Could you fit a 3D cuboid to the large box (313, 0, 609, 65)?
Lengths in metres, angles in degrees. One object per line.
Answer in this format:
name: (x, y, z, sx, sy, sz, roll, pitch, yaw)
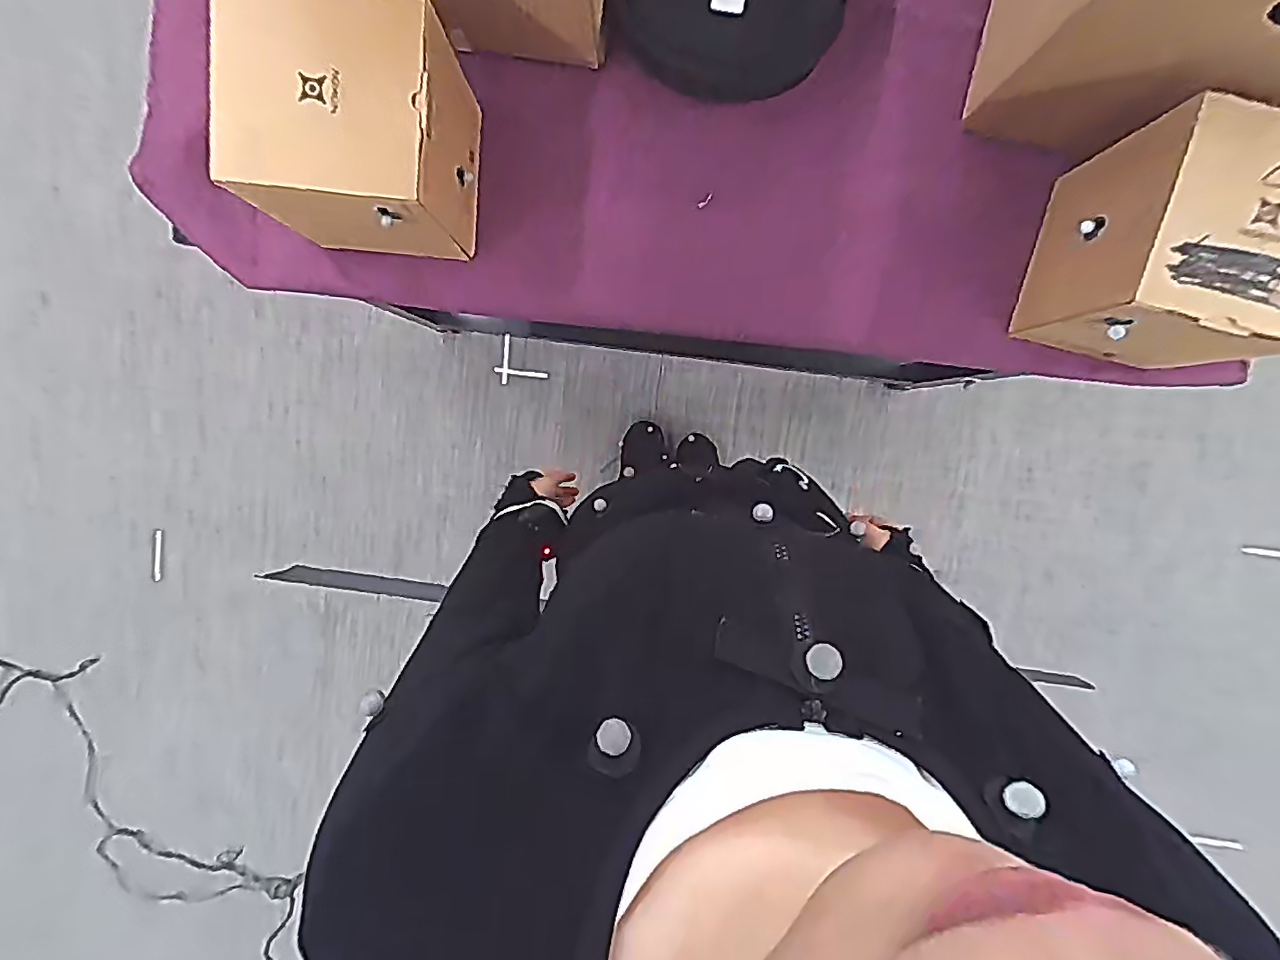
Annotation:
large box: (-0.170, -0.654, 0.430, 0.320, 0.320, 0.408, 7, 100, 1)
